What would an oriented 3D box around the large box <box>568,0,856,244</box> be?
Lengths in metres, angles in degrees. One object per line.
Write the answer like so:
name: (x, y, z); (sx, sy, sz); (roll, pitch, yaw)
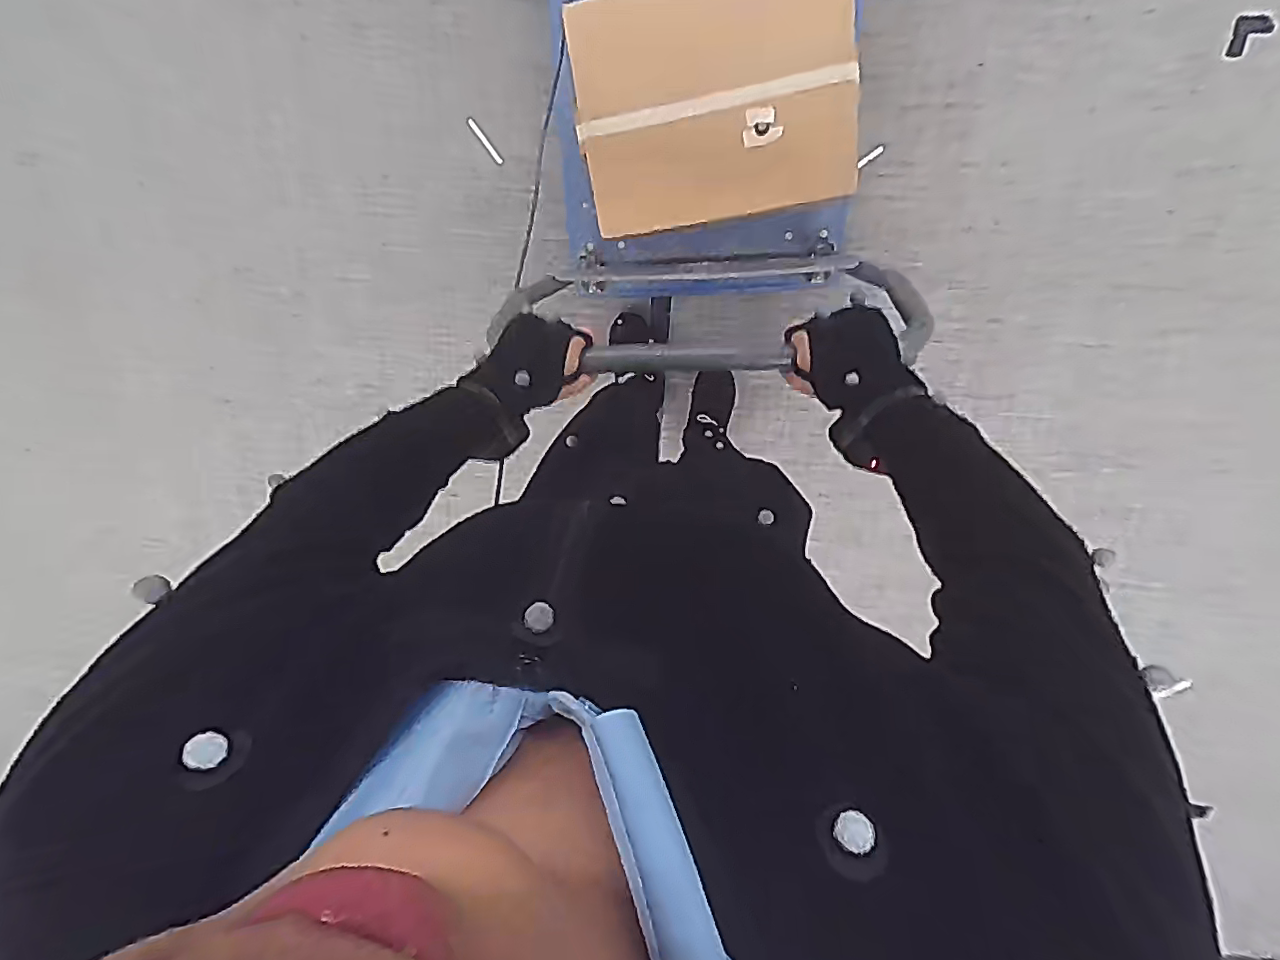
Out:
large box: (0.128, -0.617, 0.948); (0.408, 0.320, 0.320); (-7, 113, 9)
